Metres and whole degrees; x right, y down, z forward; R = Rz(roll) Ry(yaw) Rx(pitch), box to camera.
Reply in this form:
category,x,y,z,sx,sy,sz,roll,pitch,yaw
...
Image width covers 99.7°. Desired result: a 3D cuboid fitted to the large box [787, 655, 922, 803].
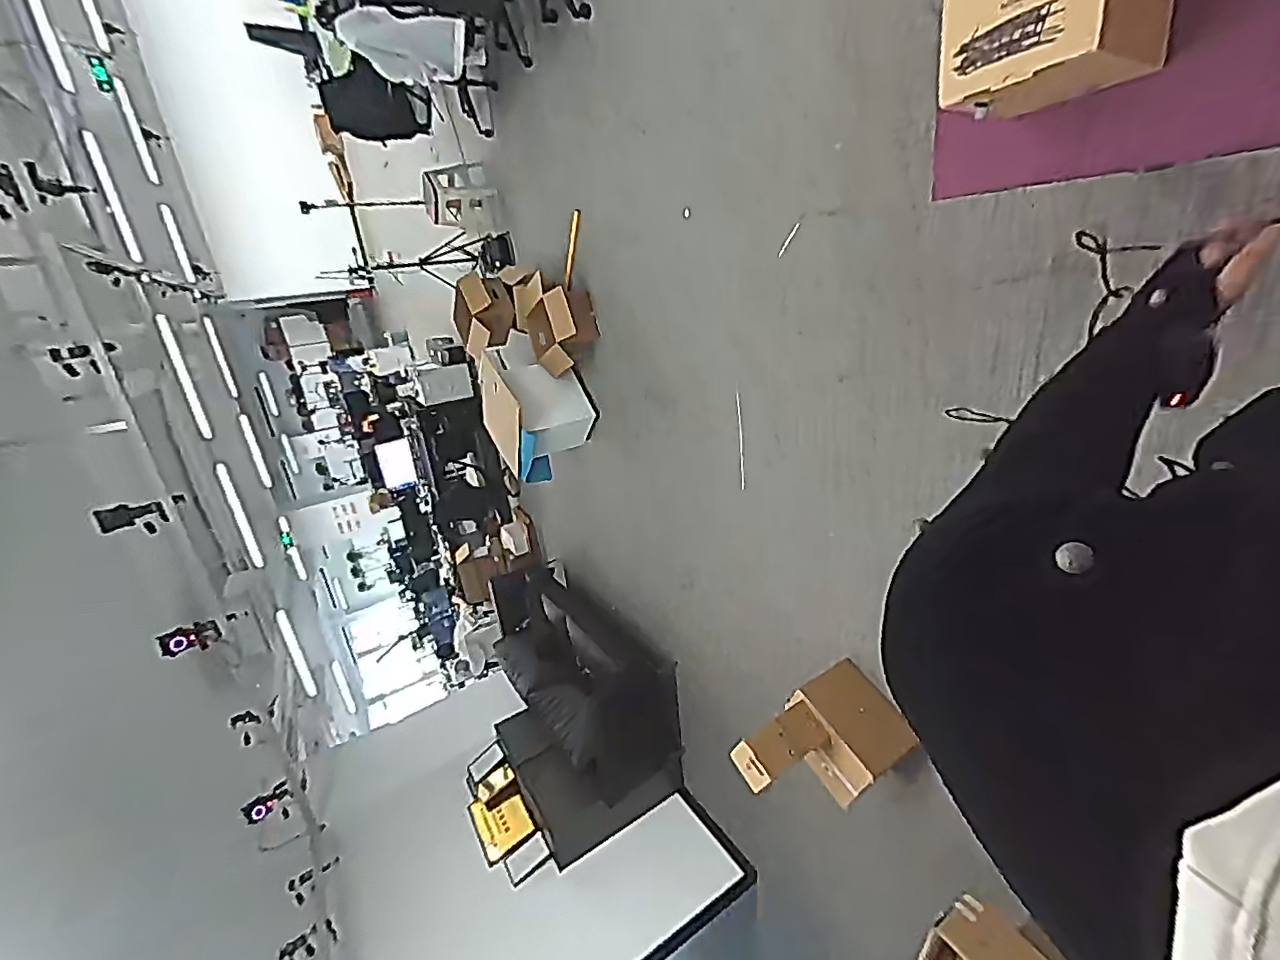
category,x,y,z,sx,sy,sz,roll,pitch,yaw
large box,0.865,1.029,2.267,0.408,0.320,0.320,47,144,36

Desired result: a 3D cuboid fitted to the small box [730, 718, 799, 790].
category,x,y,z,sx,sy,sz,roll,pitch,yaw
small box,0.486,1.056,2.091,0.168,0.176,0.179,52,146,31

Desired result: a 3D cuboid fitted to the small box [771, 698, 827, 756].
category,x,y,z,sx,sy,sz,roll,pitch,yaw
small box,0.619,1.014,2.177,0.168,0.176,0.179,52,144,31
